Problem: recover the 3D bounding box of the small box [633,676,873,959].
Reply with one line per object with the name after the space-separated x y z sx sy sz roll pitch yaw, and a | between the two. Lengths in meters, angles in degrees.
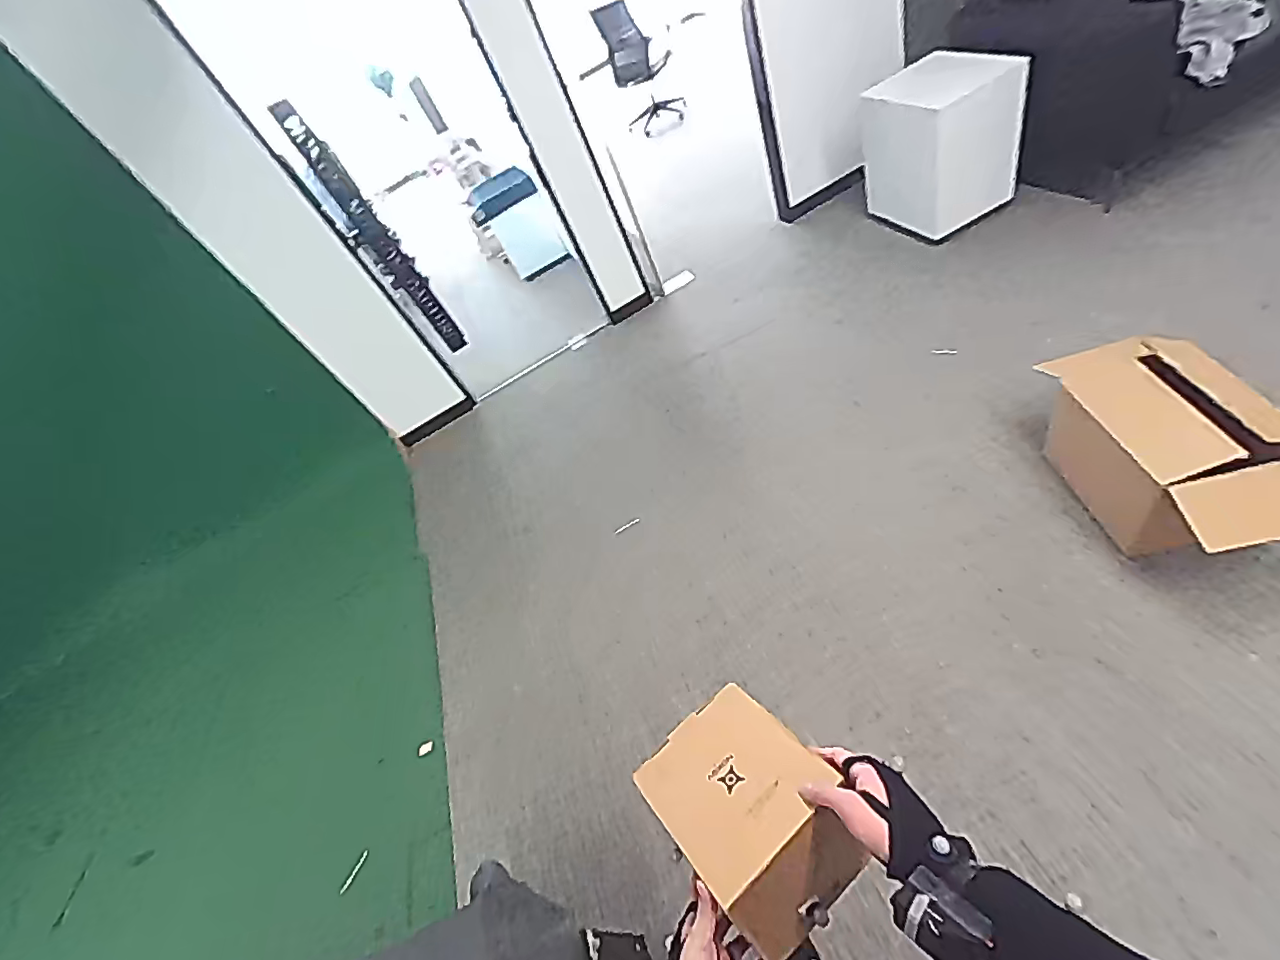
0.125 0.369 0.606 0.168 0.176 0.179 -36 29 -15 | small box
